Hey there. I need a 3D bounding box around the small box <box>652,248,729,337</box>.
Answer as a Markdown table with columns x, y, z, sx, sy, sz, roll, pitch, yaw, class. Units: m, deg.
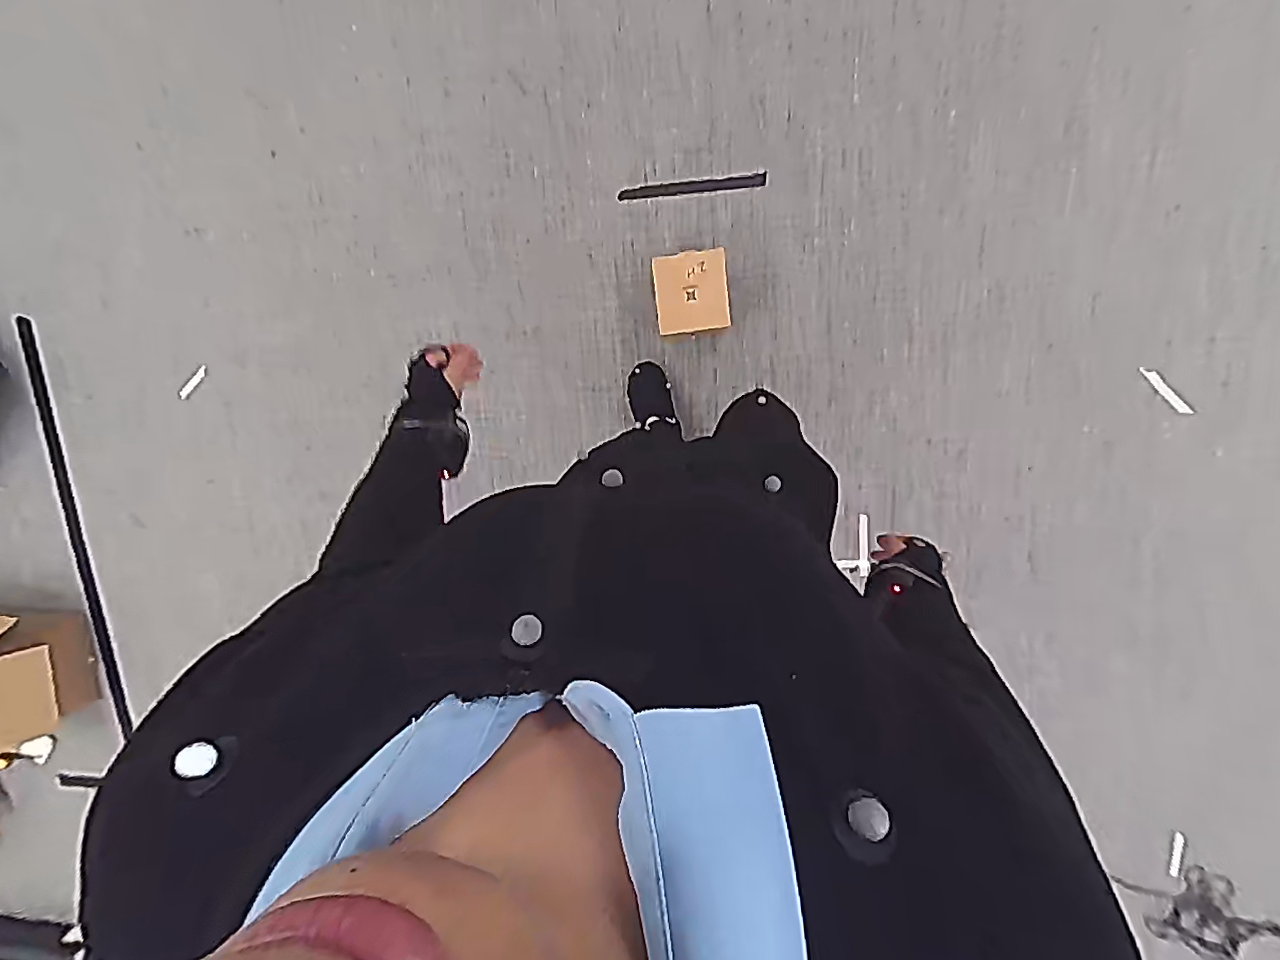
| x | y | z | sx | sy | sz | roll | pitch | yaw | class |
| --- | --- | --- | --- | --- | --- | --- | --- | --- | --- |
| 0.125 | -0.441 | 1.301 | 0.168 | 0.176 | 0.179 | -5 | 101 | 7 | small box |
